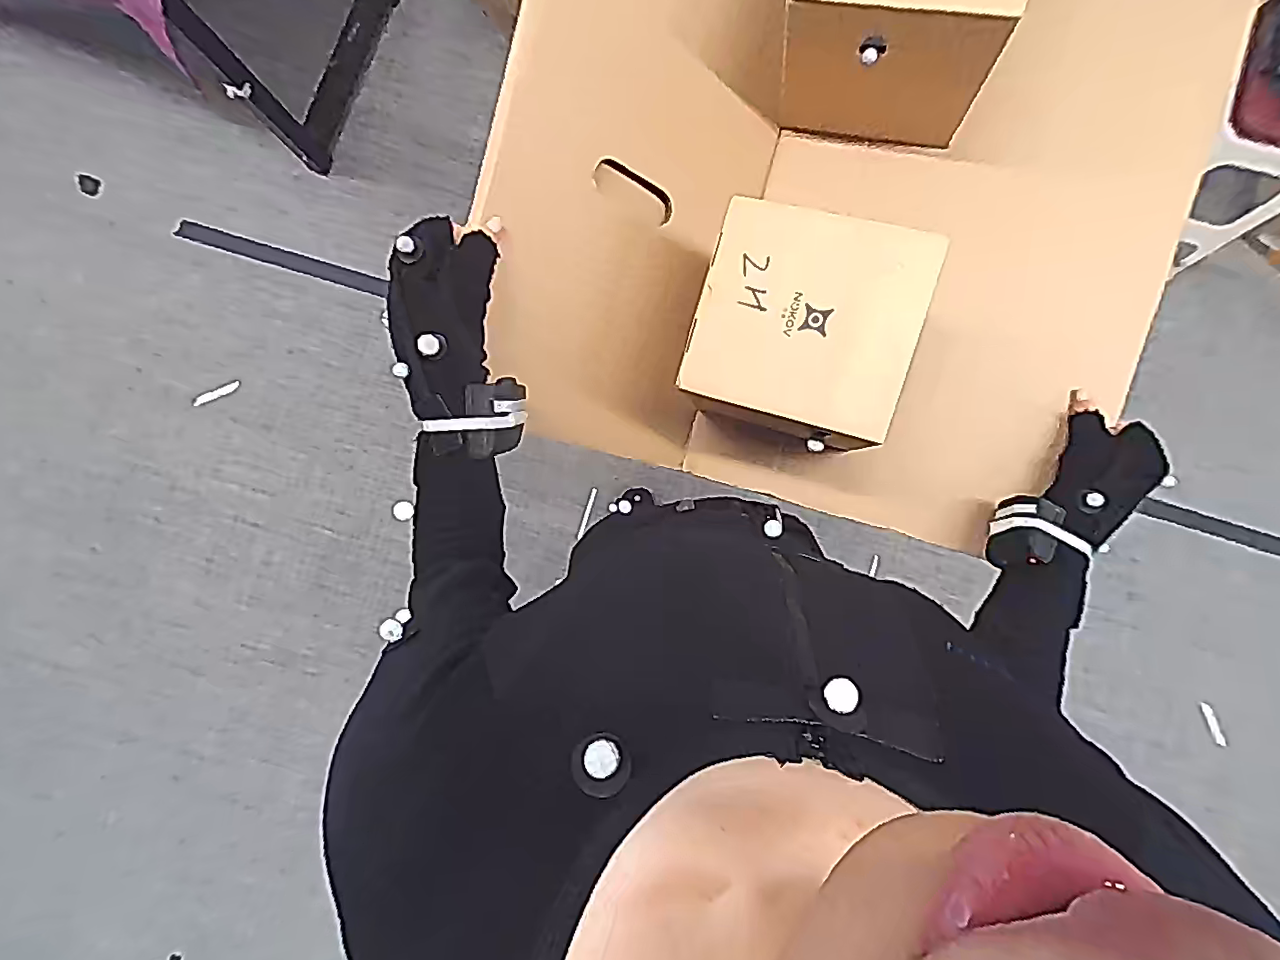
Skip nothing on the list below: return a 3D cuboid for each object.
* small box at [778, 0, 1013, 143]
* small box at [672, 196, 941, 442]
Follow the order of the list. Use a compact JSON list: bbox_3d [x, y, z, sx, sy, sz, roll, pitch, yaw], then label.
[{"bbox_3d":[0.233,-0.444,0.497,0.179,0.176,0.168,16,94,12],"label":"small box"},{"bbox_3d":[0.149,-0.137,0.521,0.179,0.176,0.168,18,95,12],"label":"small box"}]
